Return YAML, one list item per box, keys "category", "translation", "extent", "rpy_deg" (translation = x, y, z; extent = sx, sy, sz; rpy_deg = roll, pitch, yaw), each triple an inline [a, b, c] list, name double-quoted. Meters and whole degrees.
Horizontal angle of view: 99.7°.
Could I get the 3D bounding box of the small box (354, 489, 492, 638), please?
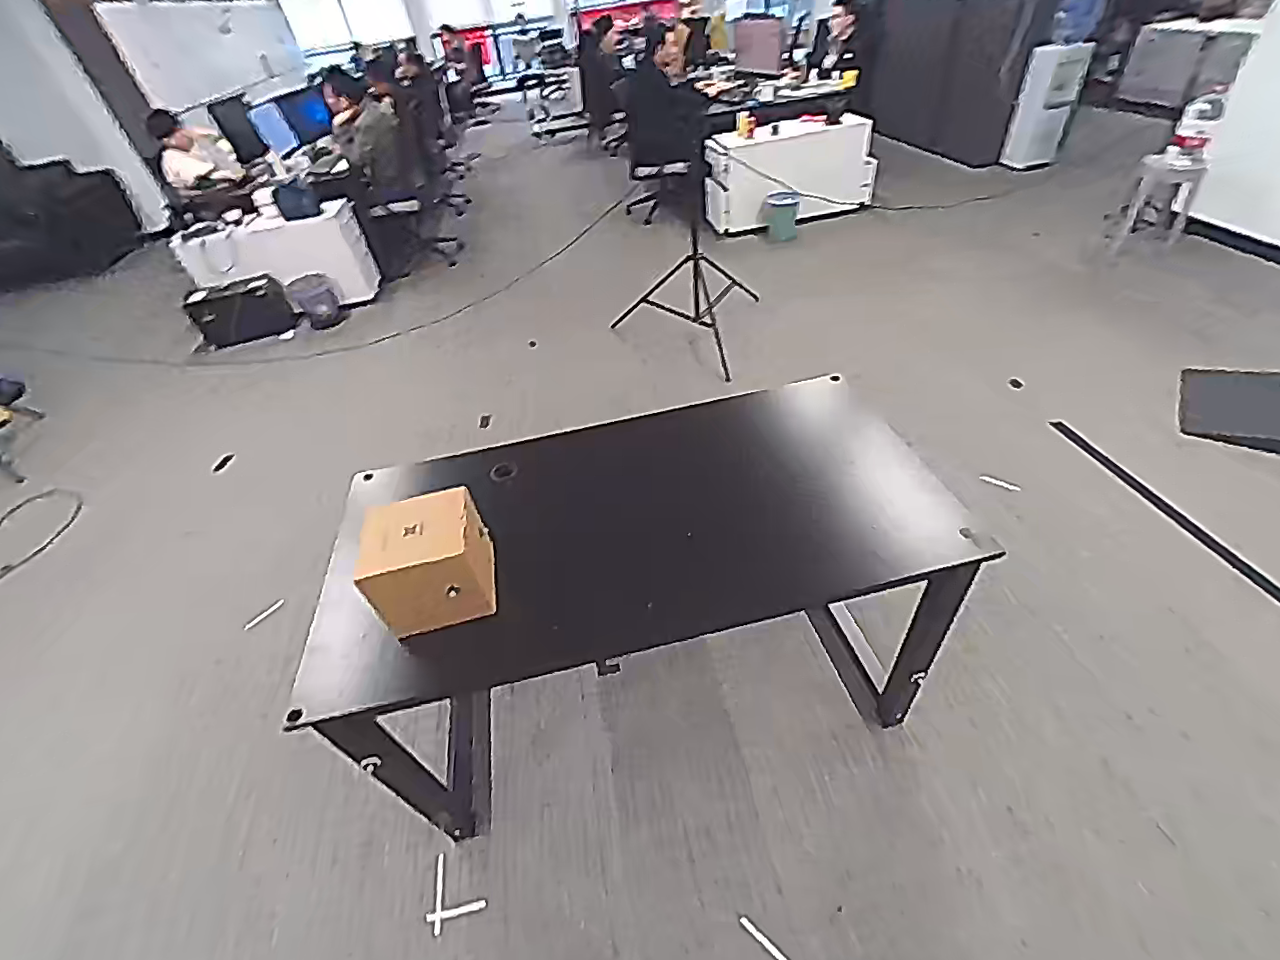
- category: "small box"
  translation: [-0.364, 0.147, 0.946]
  extent: [0.179, 0.176, 0.168]
  rpy_deg: [-15, 42, -5]
